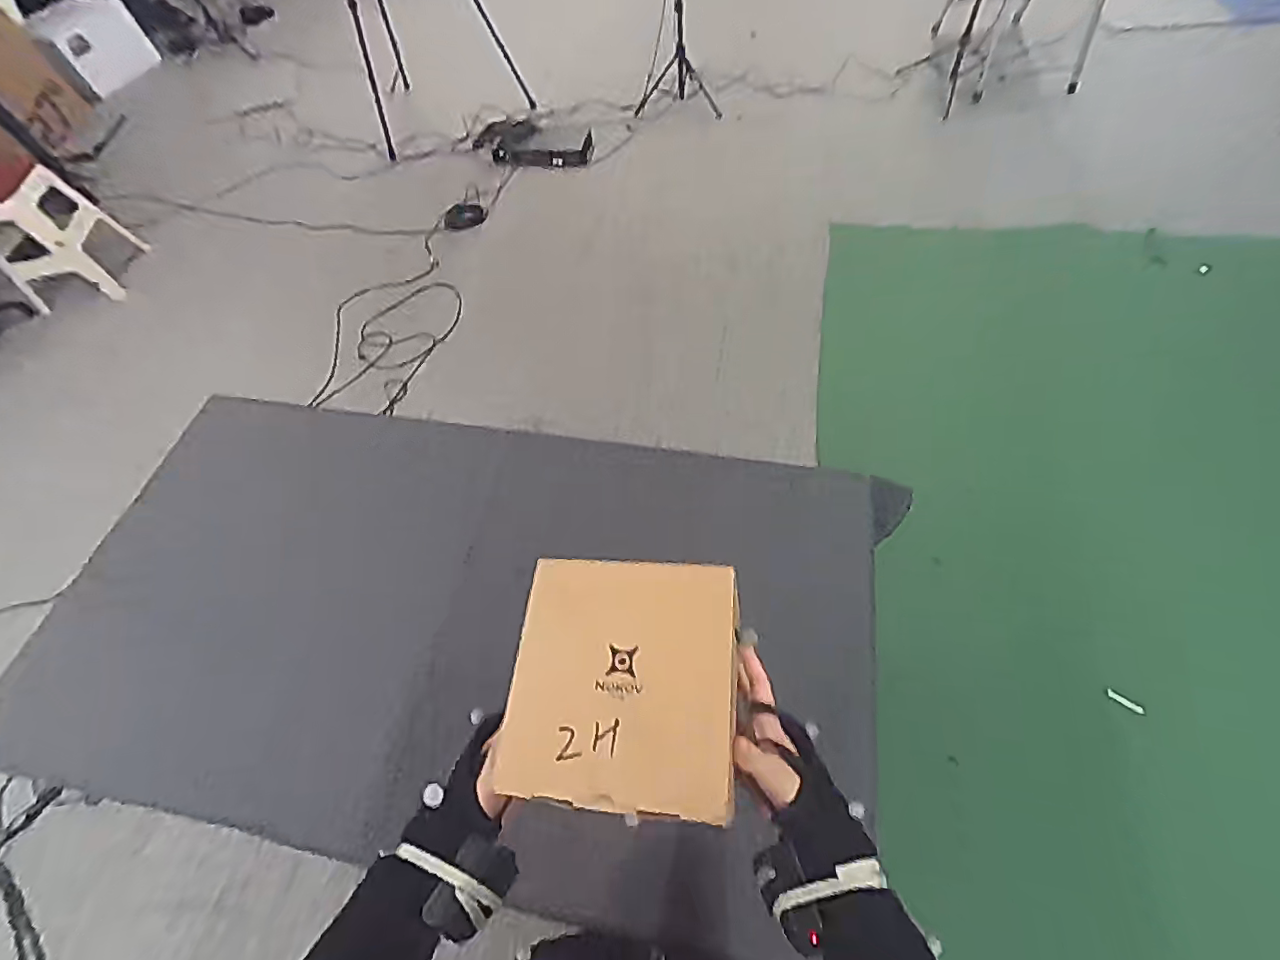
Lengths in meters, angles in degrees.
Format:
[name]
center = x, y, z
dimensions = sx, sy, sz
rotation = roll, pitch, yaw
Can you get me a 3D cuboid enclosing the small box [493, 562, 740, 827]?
[small box]
center = -0.001, 0.184, 0.469
dimensions = 0.168, 0.176, 0.179
rotation = -1, 61, 13
